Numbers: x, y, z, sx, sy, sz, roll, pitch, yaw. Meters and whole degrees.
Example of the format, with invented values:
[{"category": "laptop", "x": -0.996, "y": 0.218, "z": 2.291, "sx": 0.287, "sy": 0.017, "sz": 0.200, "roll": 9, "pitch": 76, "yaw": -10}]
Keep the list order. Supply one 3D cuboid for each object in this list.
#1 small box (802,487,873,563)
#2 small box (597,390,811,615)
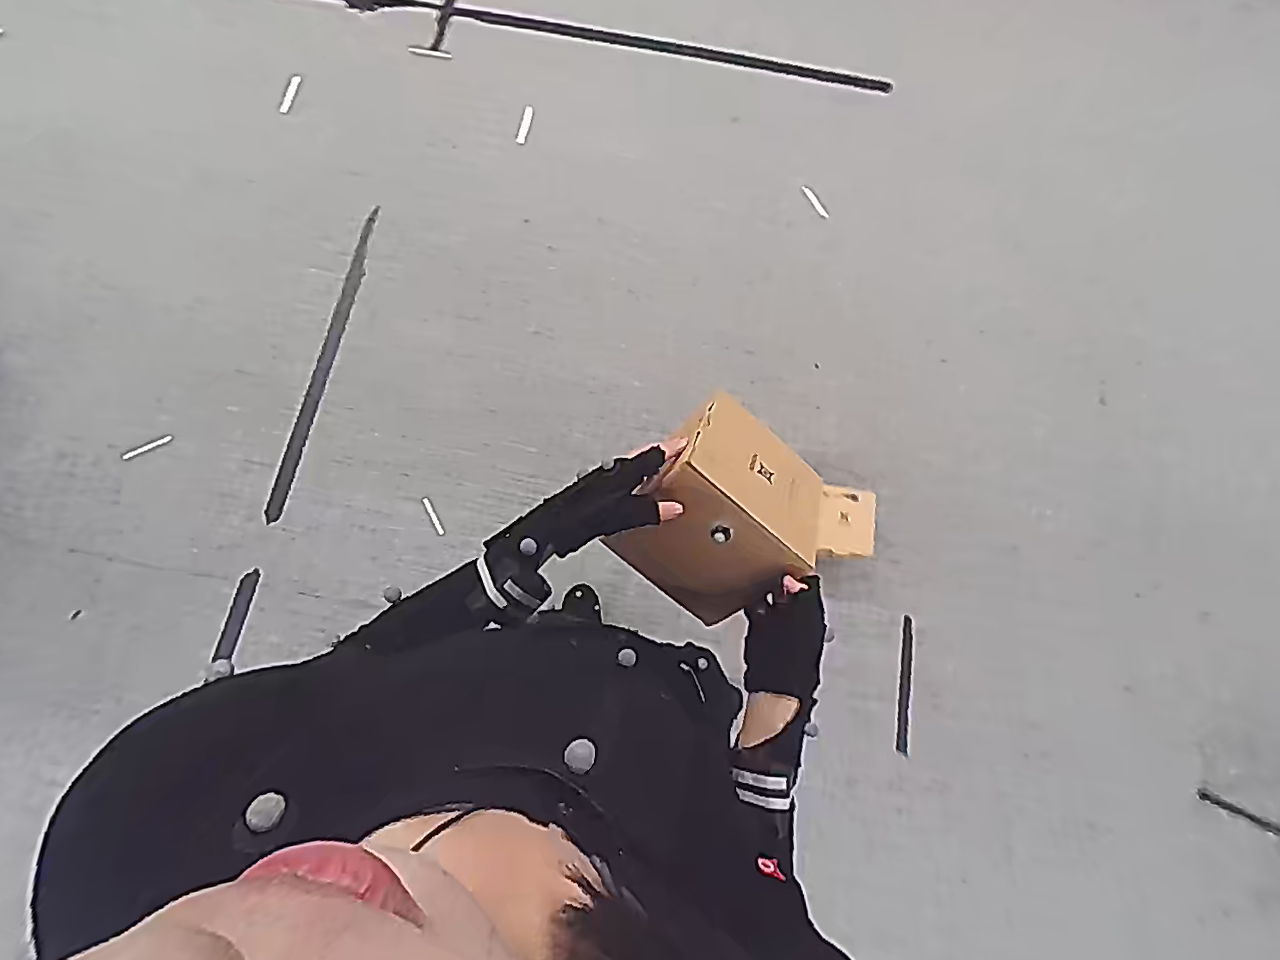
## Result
[{"category": "small box", "x": 0.527, "y": 0.131, "z": 1.503, "sx": 0.168, "sy": 0.176, "sz": 0.179, "roll": 9, "pitch": 78, "yaw": 0}, {"category": "small box", "x": 0.077, "y": 0.032, "z": 0.649, "sx": 0.179, "sy": 0.176, "sz": 0.168, "roll": 40, "pitch": 40, "yaw": -9}]
